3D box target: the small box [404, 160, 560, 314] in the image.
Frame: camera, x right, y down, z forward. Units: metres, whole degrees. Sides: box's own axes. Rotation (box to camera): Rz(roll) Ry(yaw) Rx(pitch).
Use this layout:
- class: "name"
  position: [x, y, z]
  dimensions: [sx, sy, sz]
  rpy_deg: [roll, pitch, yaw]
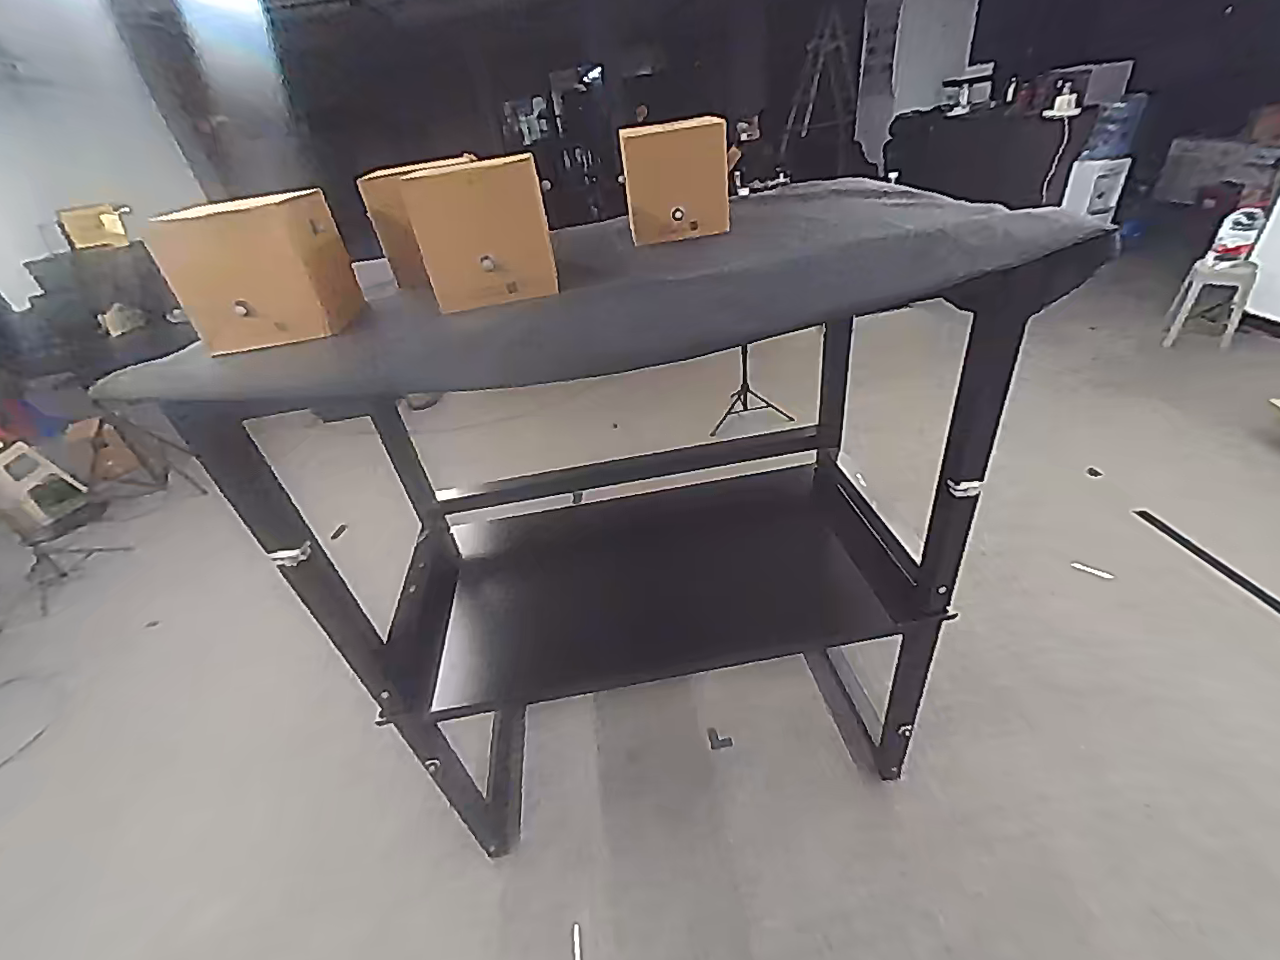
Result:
- class: "small box"
  position: [-0.213, -0.352, 0.780]
  dimensions: [0.168, 0.176, 0.179]
  rpy_deg: [-11, 34, -3]

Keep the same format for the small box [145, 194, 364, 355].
- class: "small box"
  position: [-0.512, -0.289, 0.756]
  dimensions: [0.168, 0.176, 0.179]
  rpy_deg: [-11, 34, -5]

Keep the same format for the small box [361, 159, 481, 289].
- class: "small box"
  position: [-0.352, -0.452, 0.952]
  dimensions: [0.179, 0.176, 0.168]
  rpy_deg: [-11, 35, -4]
